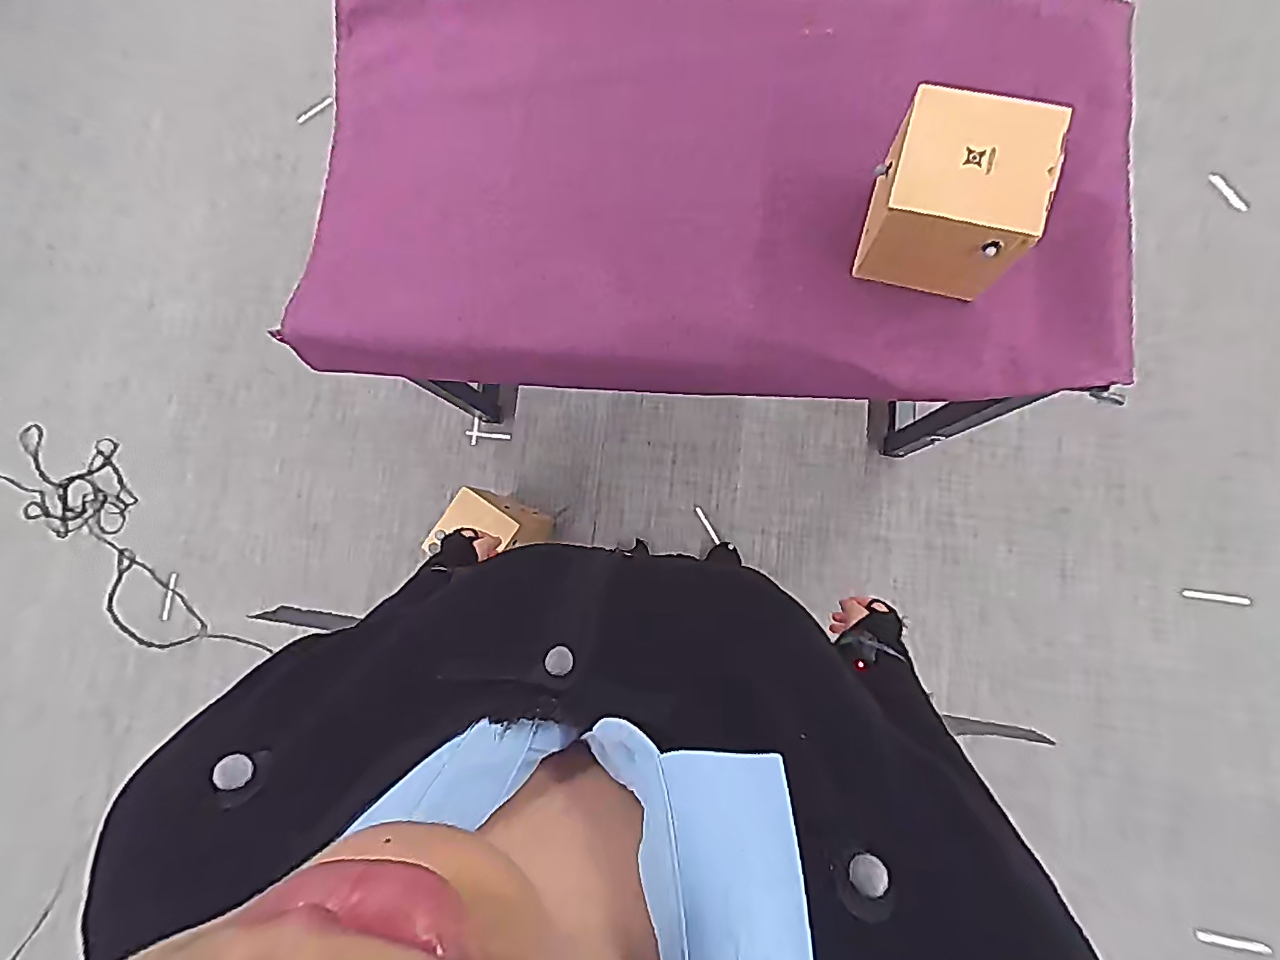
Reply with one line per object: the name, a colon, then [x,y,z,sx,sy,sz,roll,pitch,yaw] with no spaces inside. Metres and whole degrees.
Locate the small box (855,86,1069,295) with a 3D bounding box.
small box: [0.405,-0.367,0.712,0.179,0.176,0.168,15,85,8]

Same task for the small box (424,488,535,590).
small box: [-0.373,0.139,1.302,0.168,0.176,0.179,34,89,8]
